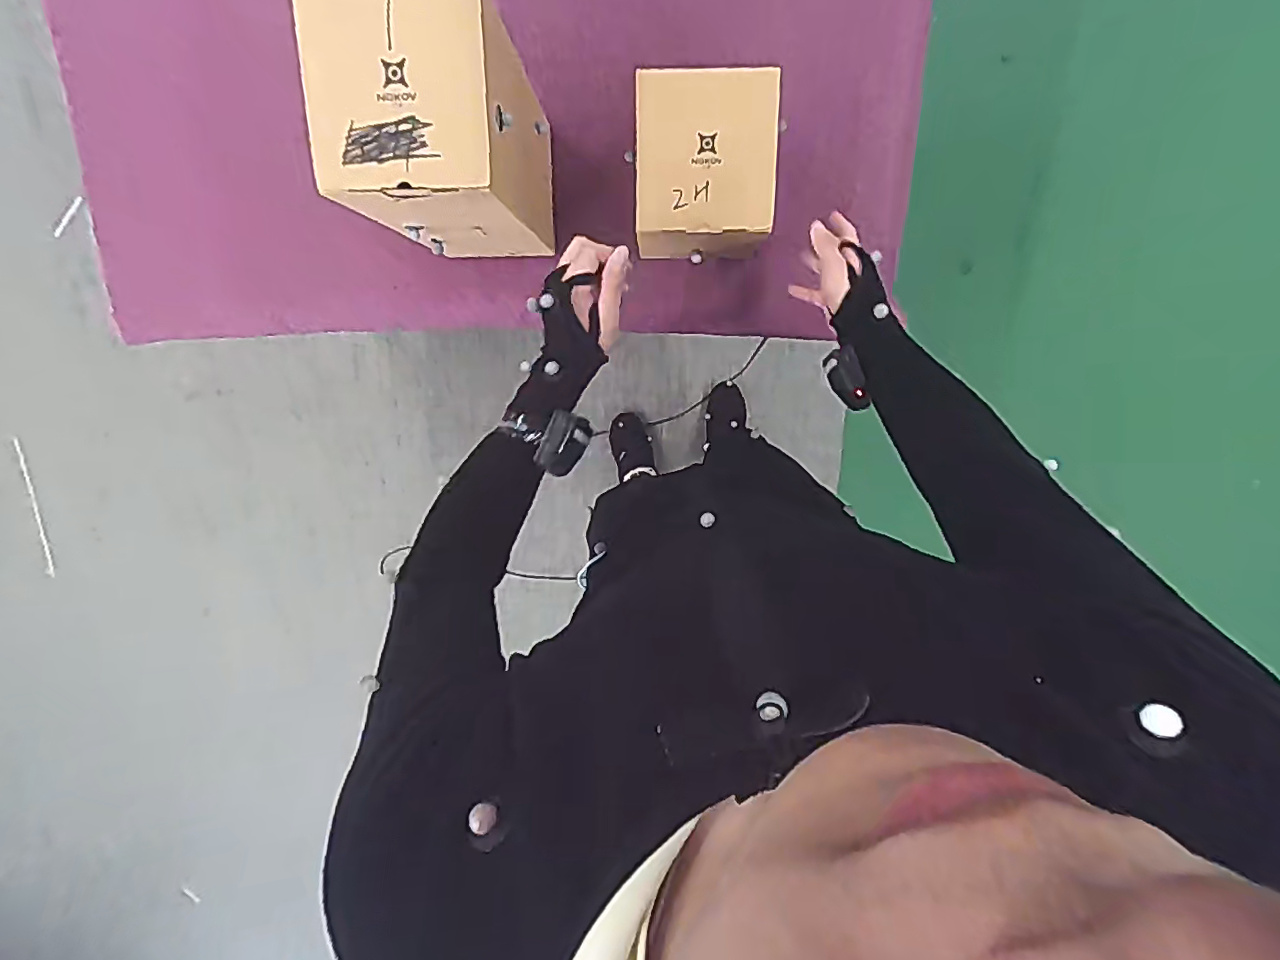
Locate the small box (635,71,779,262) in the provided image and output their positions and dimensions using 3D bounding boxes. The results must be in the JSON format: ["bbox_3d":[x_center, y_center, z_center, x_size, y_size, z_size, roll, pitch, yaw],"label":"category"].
[{"bbox_3d":[0.078,-0.397,0.711,0.168,0.176,0.179,1,103,2],"label":"small box"}]

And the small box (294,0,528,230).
[{"bbox_3d":[-0.215,-0.366,0.557,0.168,0.176,0.179,0,102,1],"label":"small box"}]
